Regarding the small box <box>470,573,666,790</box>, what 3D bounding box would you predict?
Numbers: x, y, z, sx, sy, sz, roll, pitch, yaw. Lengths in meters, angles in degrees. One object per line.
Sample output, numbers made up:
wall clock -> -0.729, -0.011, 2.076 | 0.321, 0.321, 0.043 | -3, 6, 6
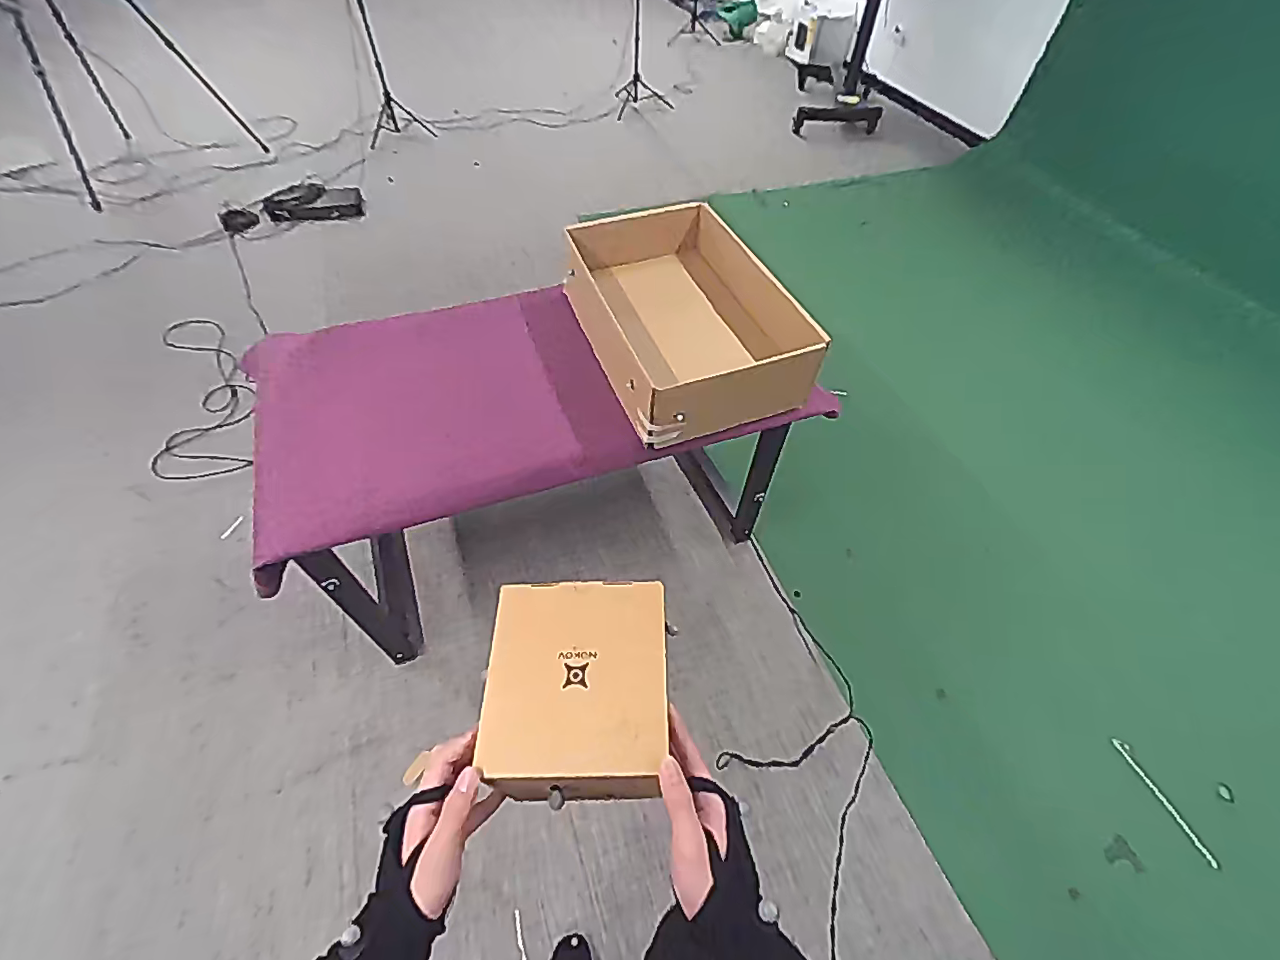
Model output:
small box -> -0.057, 0.213, 0.559 | 0.168, 0.176, 0.179 | -1, 53, 1
